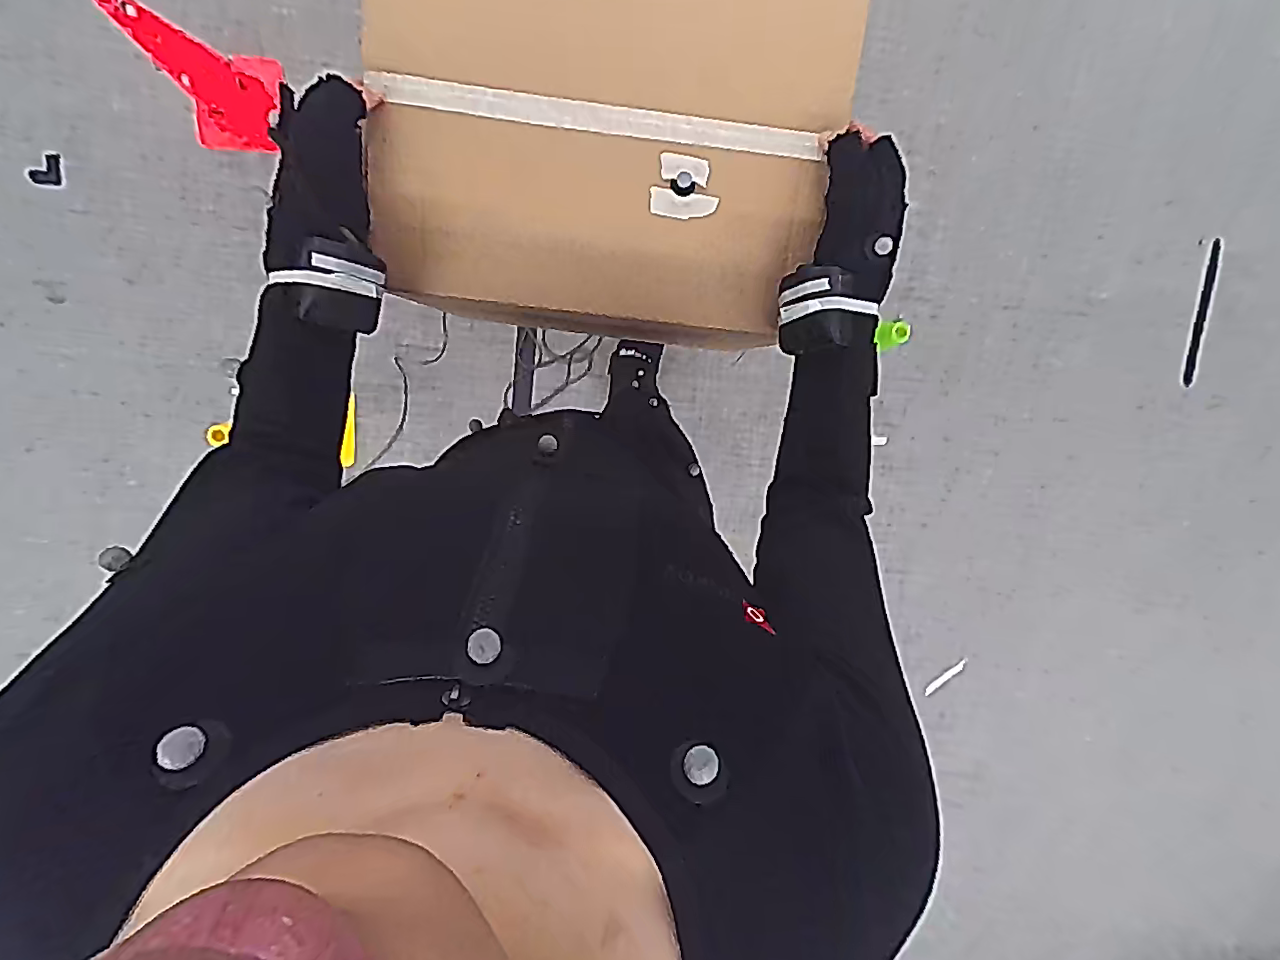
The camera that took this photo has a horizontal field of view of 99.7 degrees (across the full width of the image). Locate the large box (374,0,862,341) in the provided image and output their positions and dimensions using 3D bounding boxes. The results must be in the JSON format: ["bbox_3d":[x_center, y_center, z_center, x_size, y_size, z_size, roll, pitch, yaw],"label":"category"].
[{"bbox_3d":[-0.031,-0.340,0.605,0.408,0.320,0.320,5,101,-4],"label":"large box"}]

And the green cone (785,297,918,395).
[{"bbox_3d":[0.522,-0.327,1.263,0.202,0.368,0.200,-33,100,0],"label":"green cone"}]

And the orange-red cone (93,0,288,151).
[{"bbox_3d":[-0.914,-0.845,1.087,0.198,0.360,0.199,2,100,-3],"label":"orange-red cone"}]
